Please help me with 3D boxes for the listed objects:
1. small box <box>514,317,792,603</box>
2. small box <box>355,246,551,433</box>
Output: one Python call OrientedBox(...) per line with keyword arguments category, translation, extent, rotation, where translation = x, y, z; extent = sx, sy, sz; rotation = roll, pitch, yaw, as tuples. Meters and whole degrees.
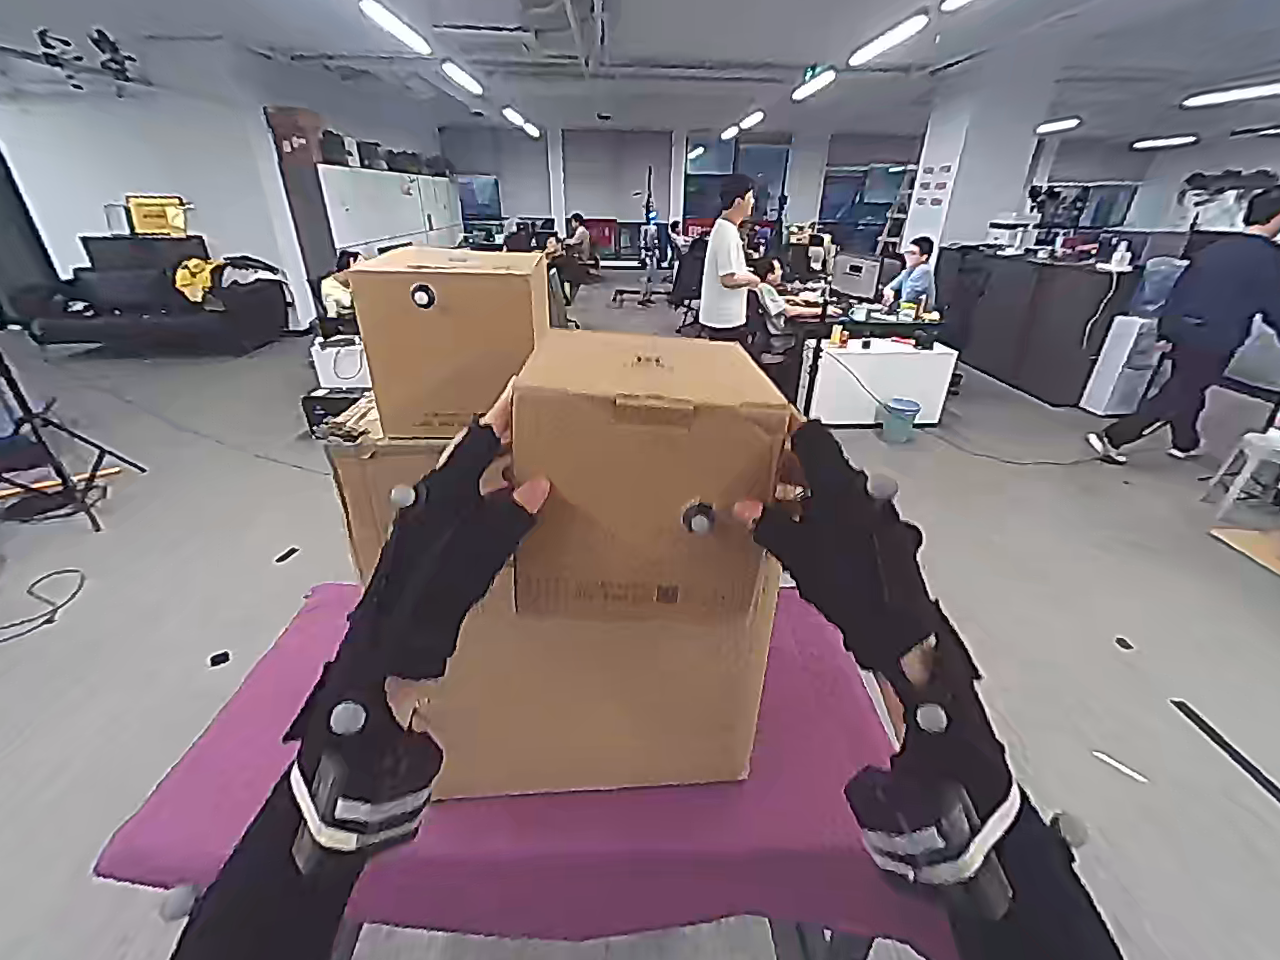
OrientedBox(category="small box", translation=(0.002, -0.022, 0.419), extent=(0.168, 0.176, 0.179), rotation=(3, 25, -4))
OrientedBox(category="small box", translation=(-0.187, -0.161, 0.602), extent=(0.168, 0.176, 0.179), rotation=(-1, 28, -5))
